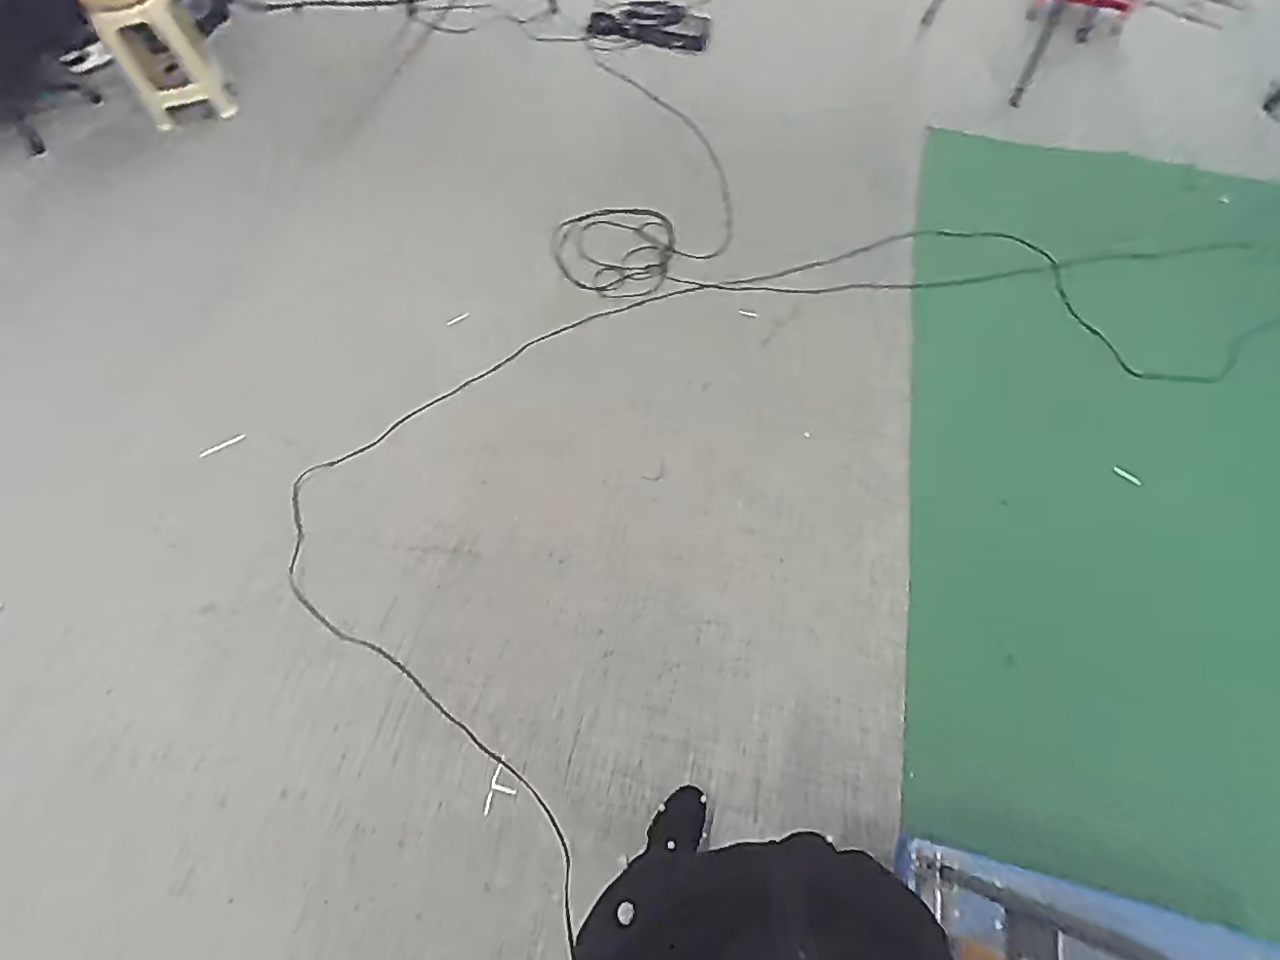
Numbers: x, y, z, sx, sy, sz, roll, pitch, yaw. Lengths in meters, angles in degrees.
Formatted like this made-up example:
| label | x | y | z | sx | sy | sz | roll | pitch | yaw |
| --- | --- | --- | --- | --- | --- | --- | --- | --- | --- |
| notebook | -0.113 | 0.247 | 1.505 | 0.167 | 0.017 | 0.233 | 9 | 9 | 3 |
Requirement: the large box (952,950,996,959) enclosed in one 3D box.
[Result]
| label | x | y | z | sx | sy | sz | roll | pitch | yaw |
| --- | --- | --- | --- | --- | --- | --- | --- | --- | --- |
| large box | 0.780 | 1.034 | 0.860 | 0.408 | 0.320 | 0.320 | 14 | 64 | 6 |
